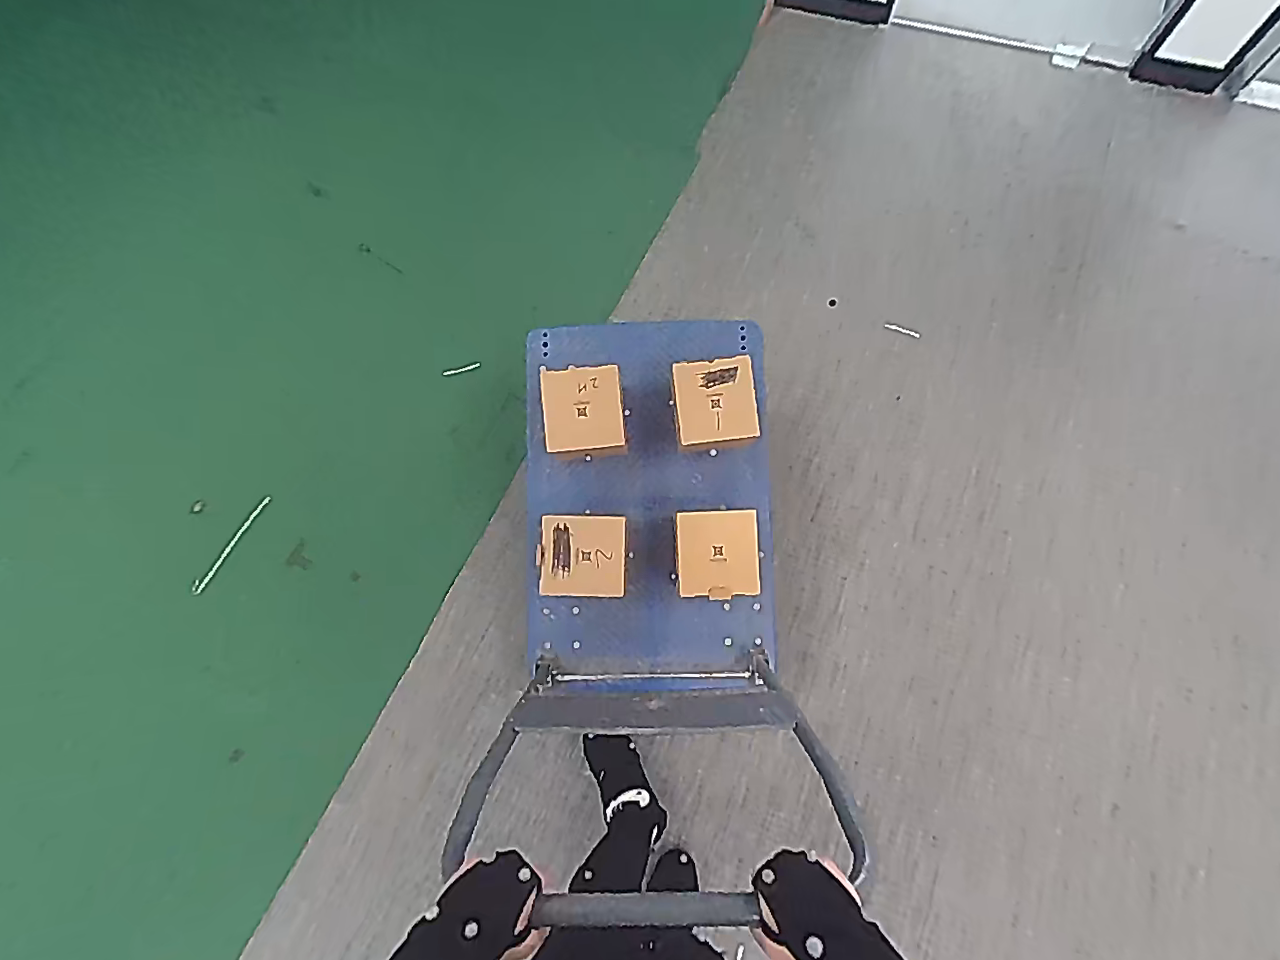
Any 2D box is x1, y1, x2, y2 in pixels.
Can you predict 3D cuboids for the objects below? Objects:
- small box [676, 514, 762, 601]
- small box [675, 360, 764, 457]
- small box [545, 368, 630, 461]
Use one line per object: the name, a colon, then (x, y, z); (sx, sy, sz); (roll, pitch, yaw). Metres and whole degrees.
small box: (0.166, 0.164, 1.177); (0.168, 0.176, 0.179); (-1, 86, 1)
small box: (0.169, -0.152, 1.199); (0.168, 0.176, 0.179); (-5, 87, 2)
small box: (-0.110, -0.138, 1.205); (0.168, 0.176, 0.179); (-5, 86, 0)
